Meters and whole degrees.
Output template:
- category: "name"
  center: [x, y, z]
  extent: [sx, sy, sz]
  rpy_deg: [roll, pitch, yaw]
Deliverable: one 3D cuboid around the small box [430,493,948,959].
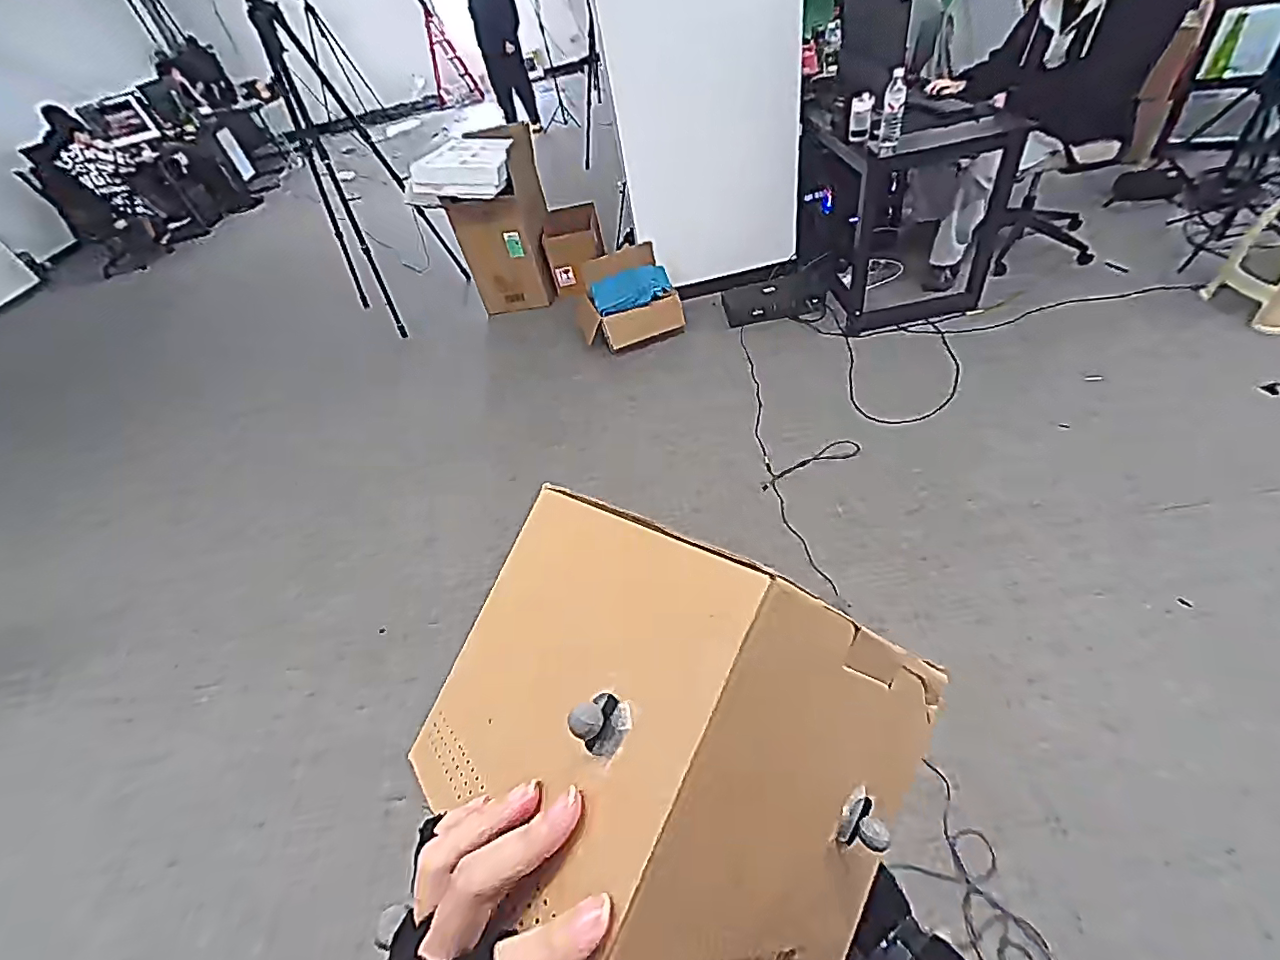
- category: "small box"
  center: [0.018, 0.127, 0.287]
  extent: [0.179, 0.168, 0.176]
  rpy_deg: [15, 77, 54]
